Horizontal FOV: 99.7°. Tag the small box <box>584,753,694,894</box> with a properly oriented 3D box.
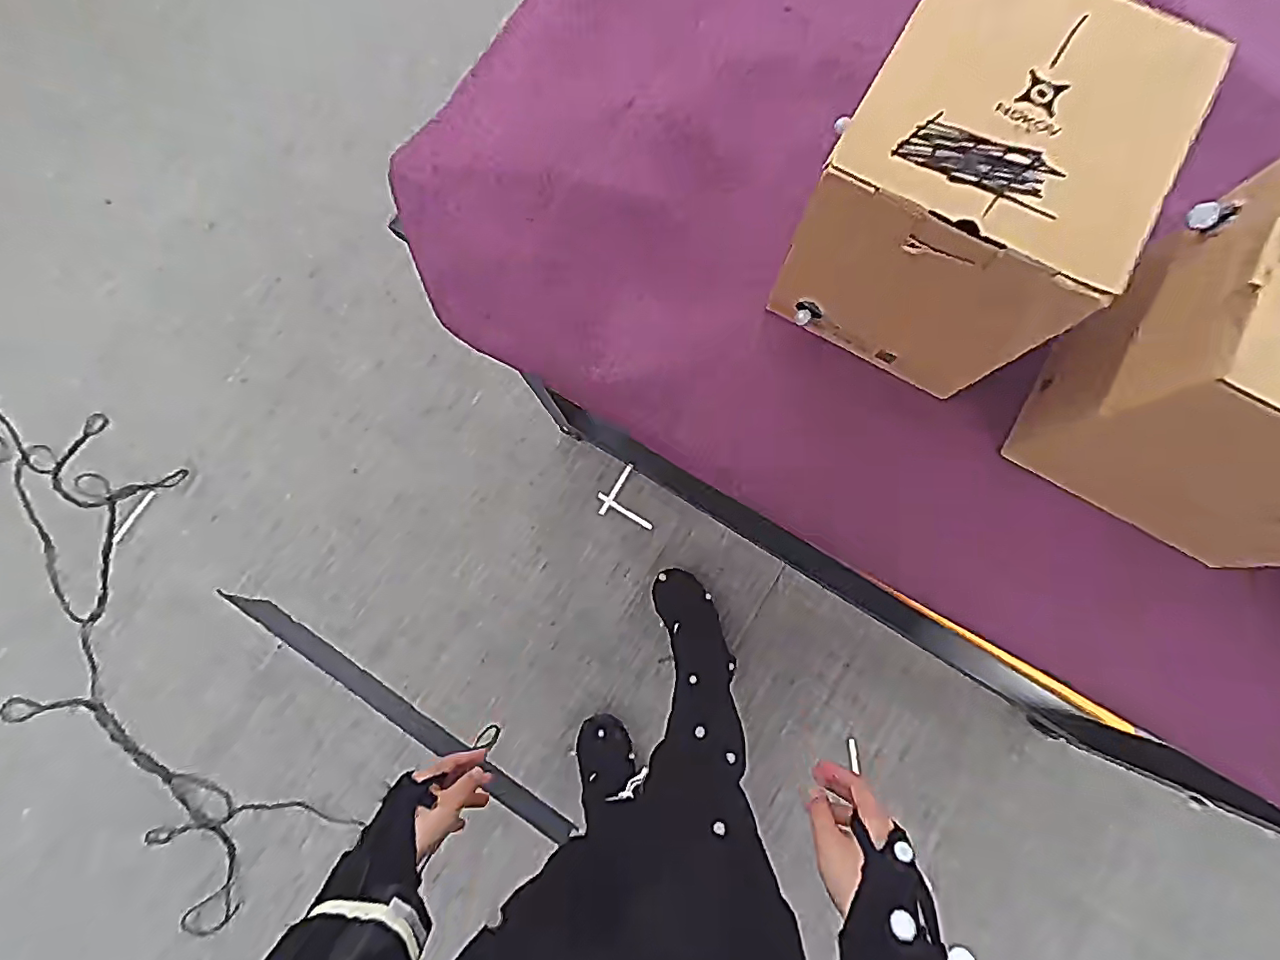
[{"bbox_3d":[-0.006,0.615,0.983,0.179,0.176,0.168,-5,77,-2],"label":"small box"}]

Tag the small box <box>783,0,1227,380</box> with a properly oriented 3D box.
[{"bbox_3d":[0.218,-0.197,0.378,0.168,0.176,0.179,30,82,5],"label":"small box"}]
